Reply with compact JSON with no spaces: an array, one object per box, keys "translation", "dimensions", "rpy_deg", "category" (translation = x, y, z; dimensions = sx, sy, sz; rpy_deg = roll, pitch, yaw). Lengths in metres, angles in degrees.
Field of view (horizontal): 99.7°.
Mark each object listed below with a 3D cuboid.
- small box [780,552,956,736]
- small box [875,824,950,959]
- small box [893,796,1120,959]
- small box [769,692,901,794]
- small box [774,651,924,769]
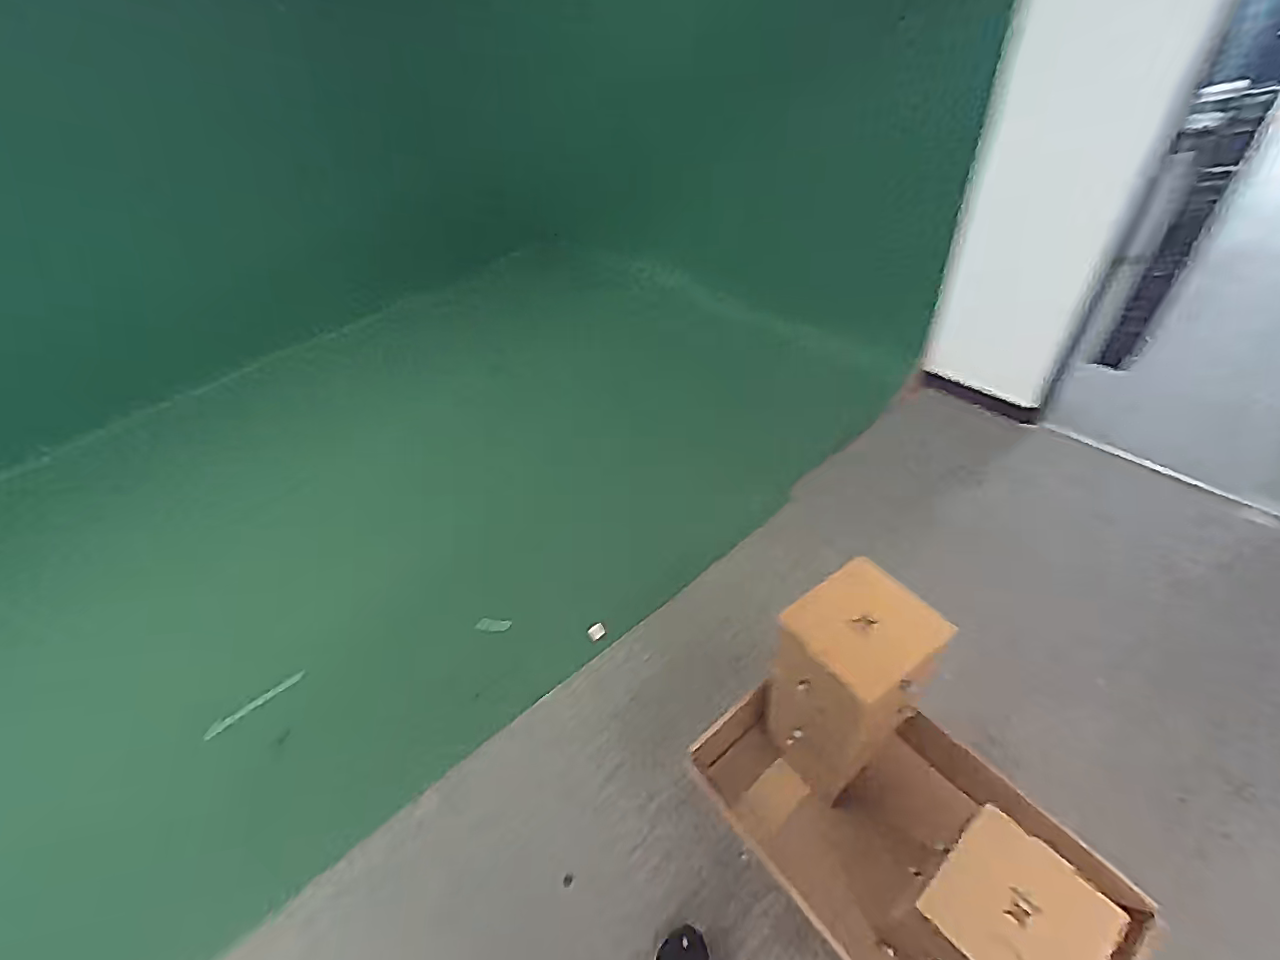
[{"translation":[0.329,0.248,0.820],"dimensions":[0.179,0.176,0.168],"rpy_deg":[-29,49,-16],"category":"small box"},{"translation":[0.487,0.680,0.831],"dimensions":[0.179,0.176,0.168],"rpy_deg":[-33,50,-21],"category":"small box"},{"translation":[0.464,0.568,0.714],"dimensions":[0.179,0.176,0.168],"rpy_deg":[-34,50,-21],"category":"small box"},{"translation":[0.368,0.470,1.056],"dimensions":[0.179,0.176,0.168],"rpy_deg":[-31,49,-19],"category":"small box"},{"translation":[0.348,0.358,0.938],"dimensions":[0.179,0.176,0.168],"rpy_deg":[-30,48,-17],"category":"small box"}]
